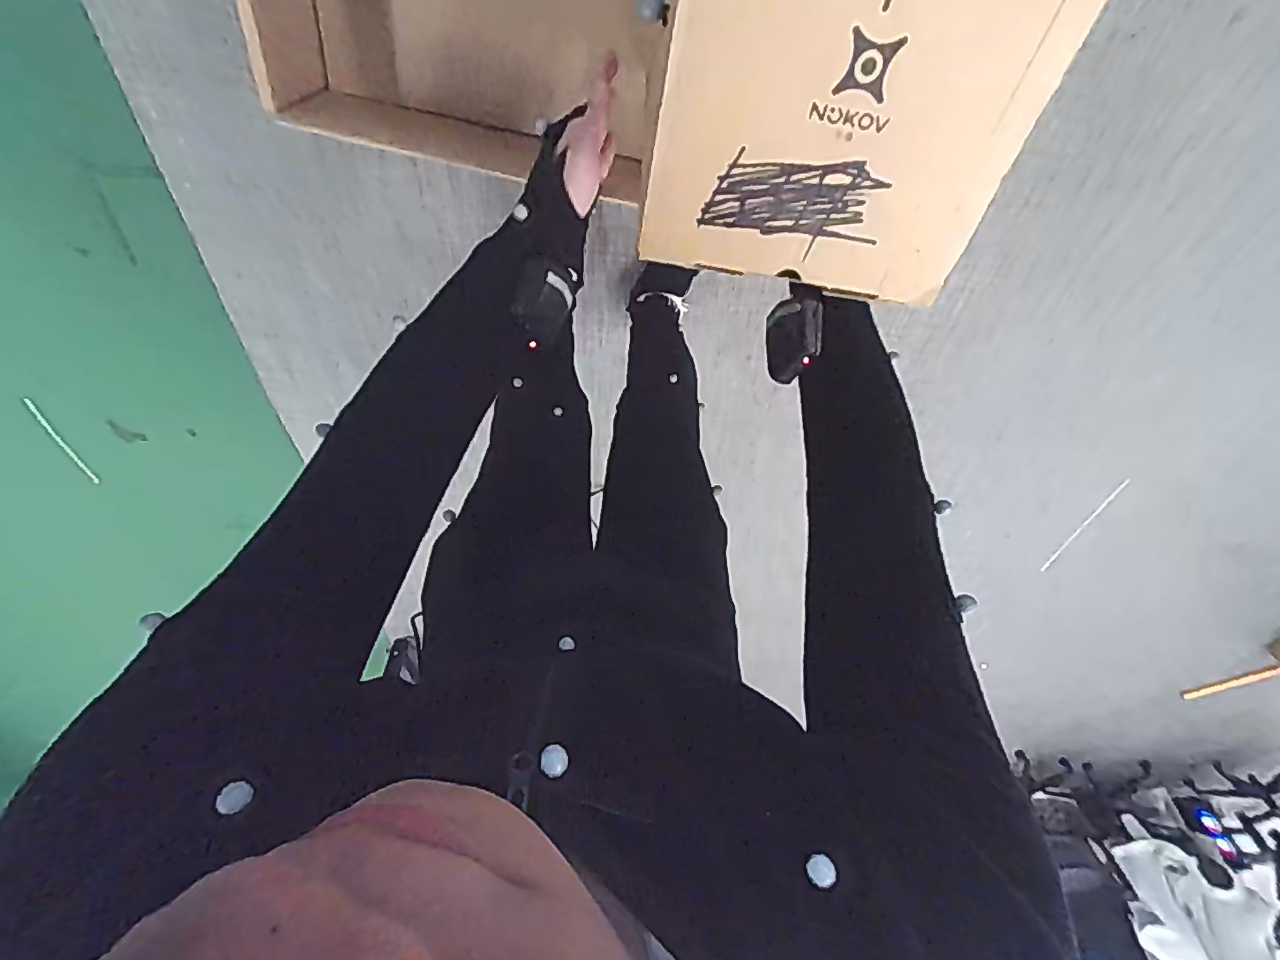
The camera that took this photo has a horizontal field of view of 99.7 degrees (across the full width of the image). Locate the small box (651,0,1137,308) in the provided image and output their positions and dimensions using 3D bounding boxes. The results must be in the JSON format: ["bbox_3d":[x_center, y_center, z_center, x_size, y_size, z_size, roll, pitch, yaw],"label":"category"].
[{"bbox_3d":[0.103,-0.221,0.284,0.168,0.176,0.179,7,133,-6],"label":"small box"}]
